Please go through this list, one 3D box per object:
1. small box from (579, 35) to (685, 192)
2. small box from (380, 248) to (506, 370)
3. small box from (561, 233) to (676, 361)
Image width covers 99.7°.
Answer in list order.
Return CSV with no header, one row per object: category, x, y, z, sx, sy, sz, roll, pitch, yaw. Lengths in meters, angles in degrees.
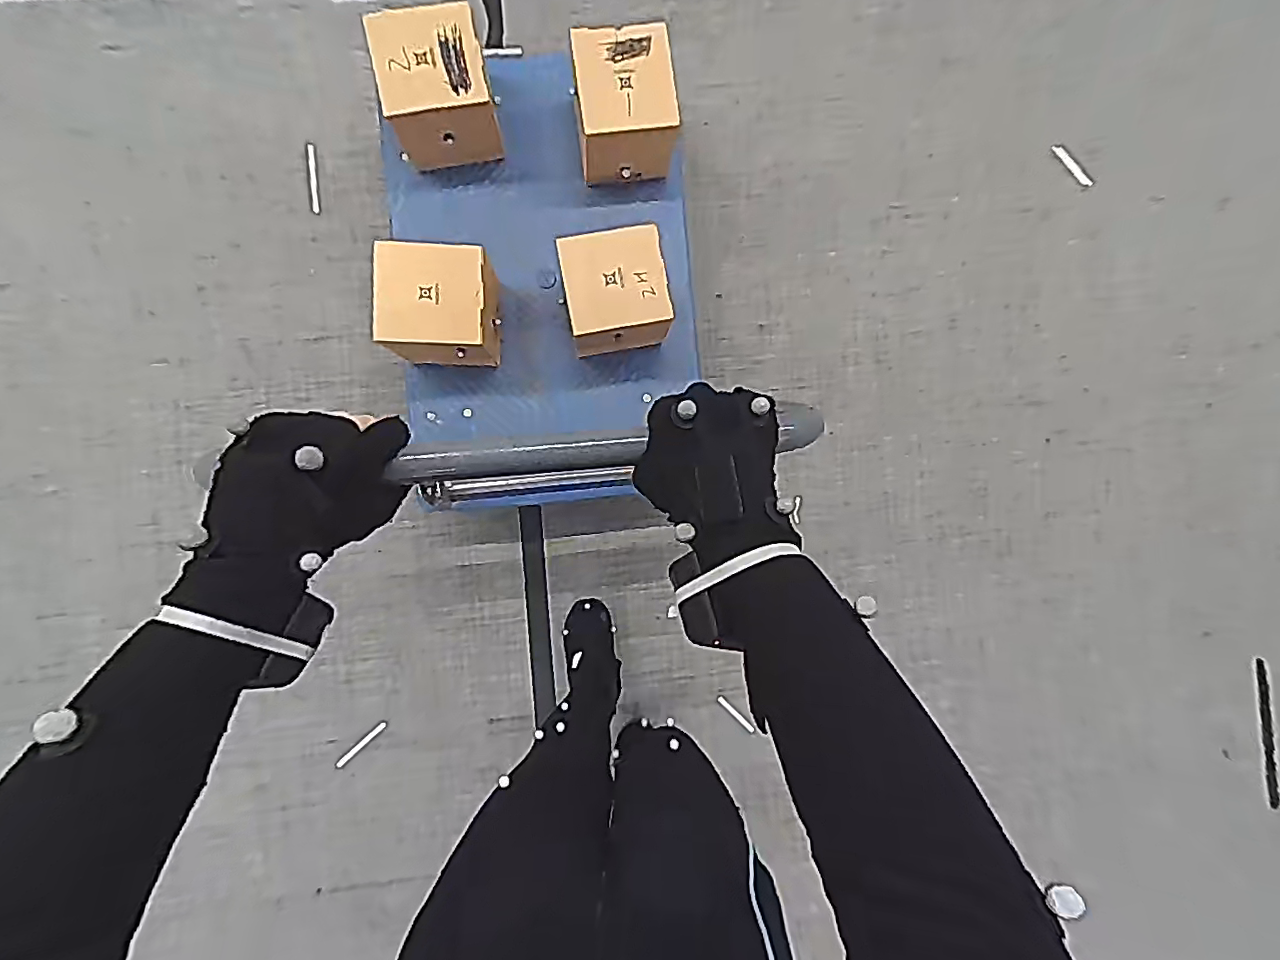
small box,-0.021,-0.664,0.995,0.168,0.176,0.179,-8,92,-5
small box,-0.345,-0.298,0.973,0.179,0.176,0.168,1,90,-6
small box,-0.040,-0.326,0.996,0.179,0.176,0.168,-10,91,-4
